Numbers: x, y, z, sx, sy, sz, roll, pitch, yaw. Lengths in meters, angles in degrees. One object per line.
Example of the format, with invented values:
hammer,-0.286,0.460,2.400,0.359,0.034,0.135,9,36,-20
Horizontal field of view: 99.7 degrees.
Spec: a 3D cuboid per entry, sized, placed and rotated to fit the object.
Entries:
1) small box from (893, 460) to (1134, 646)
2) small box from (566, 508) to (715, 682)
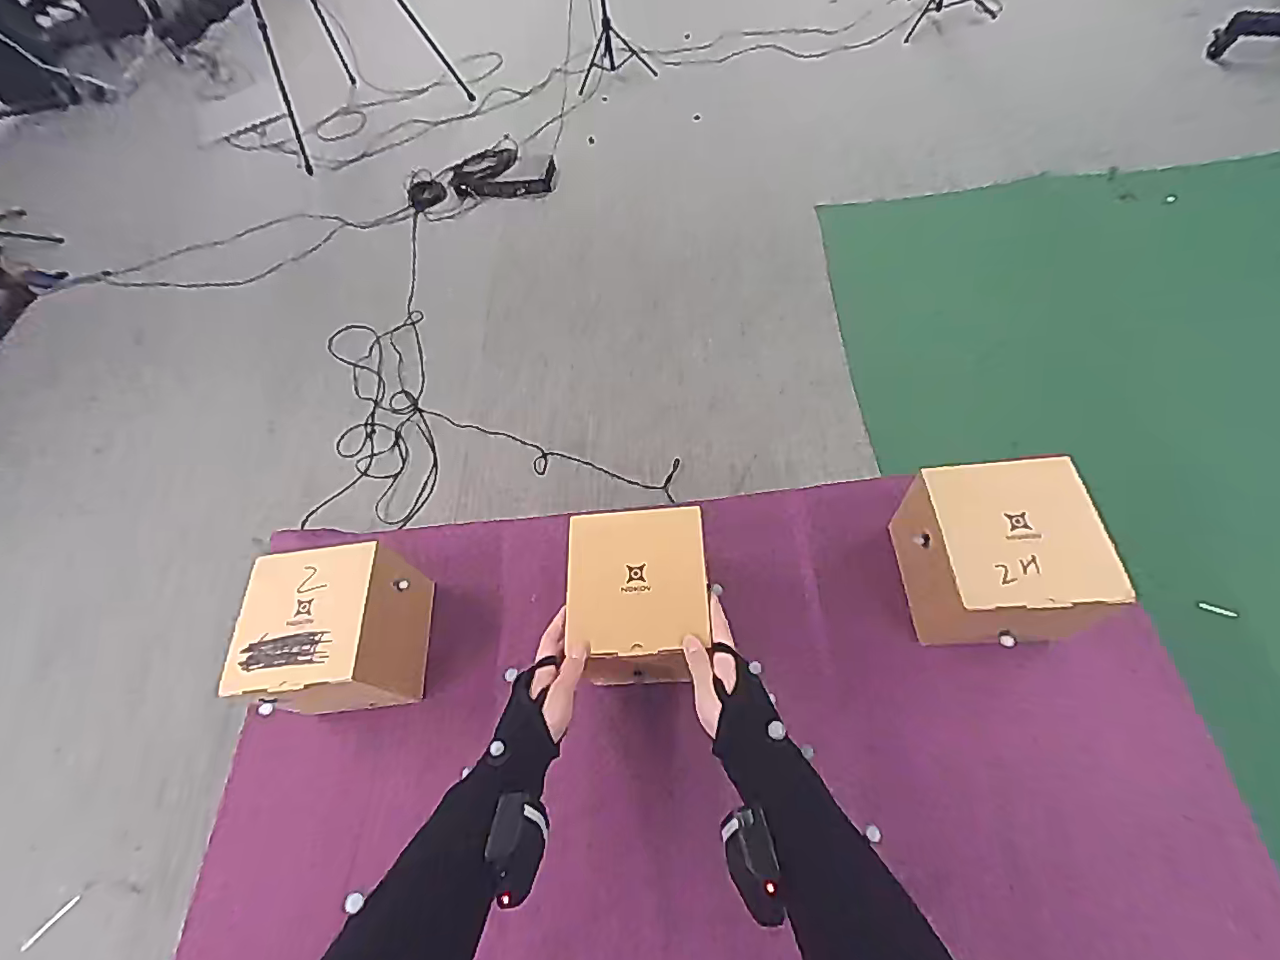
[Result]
small box,0.430,0.095,0.664,0.168,0.176,0.179,-5,61,8
small box,0.006,0.153,0.696,0.168,0.176,0.179,-5,61,5
